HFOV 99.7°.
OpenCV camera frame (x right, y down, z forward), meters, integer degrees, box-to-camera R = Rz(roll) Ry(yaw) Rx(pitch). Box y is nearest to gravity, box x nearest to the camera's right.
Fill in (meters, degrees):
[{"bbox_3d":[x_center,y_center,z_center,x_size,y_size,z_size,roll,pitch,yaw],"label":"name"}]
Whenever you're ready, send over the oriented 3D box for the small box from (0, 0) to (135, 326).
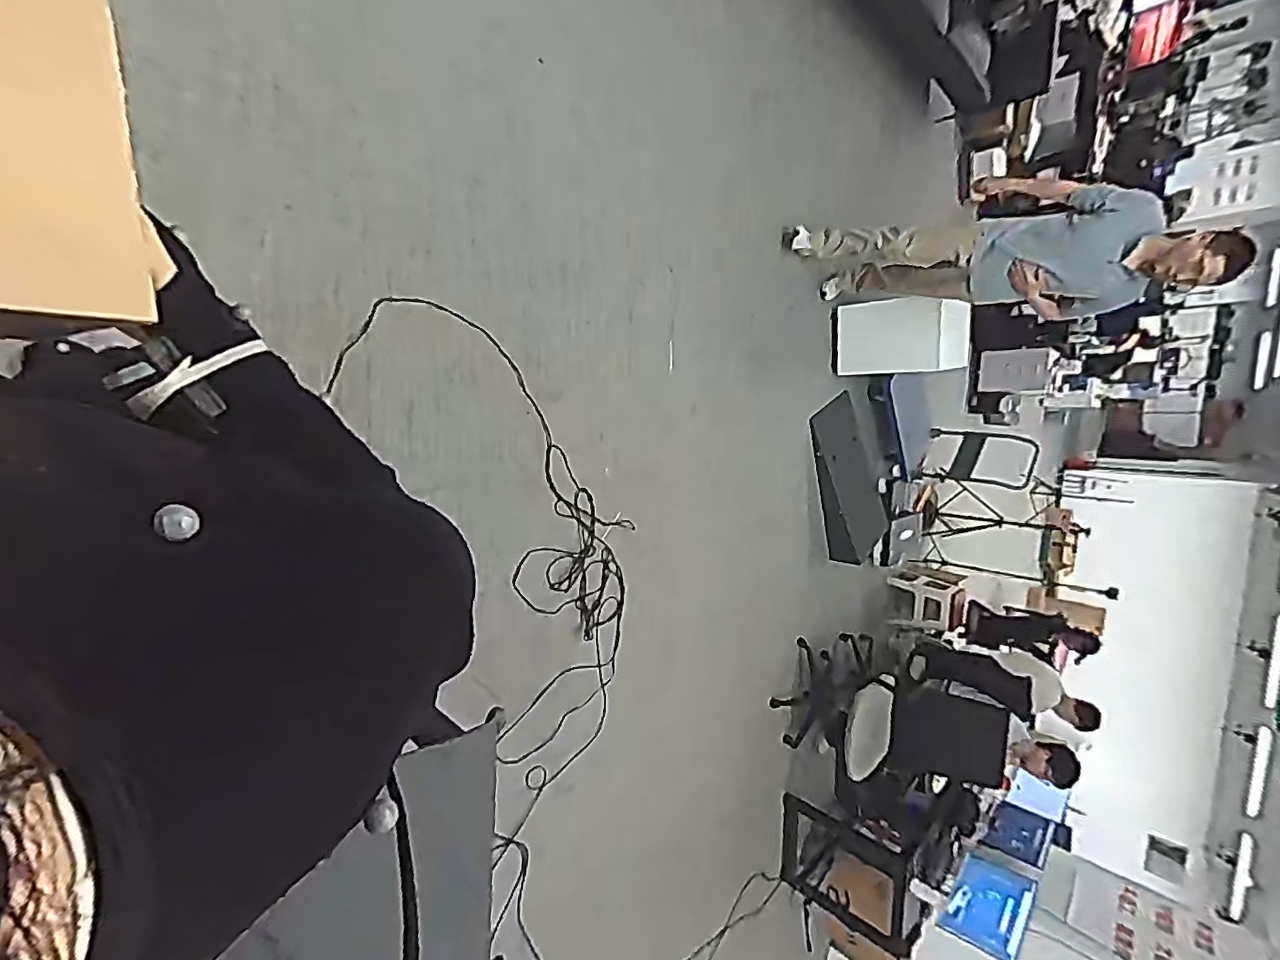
[{"bbox_3d":[-0.395,-0.175,0.263,0.168,0.176,0.179,-16,108,-60],"label":"small box"}]
